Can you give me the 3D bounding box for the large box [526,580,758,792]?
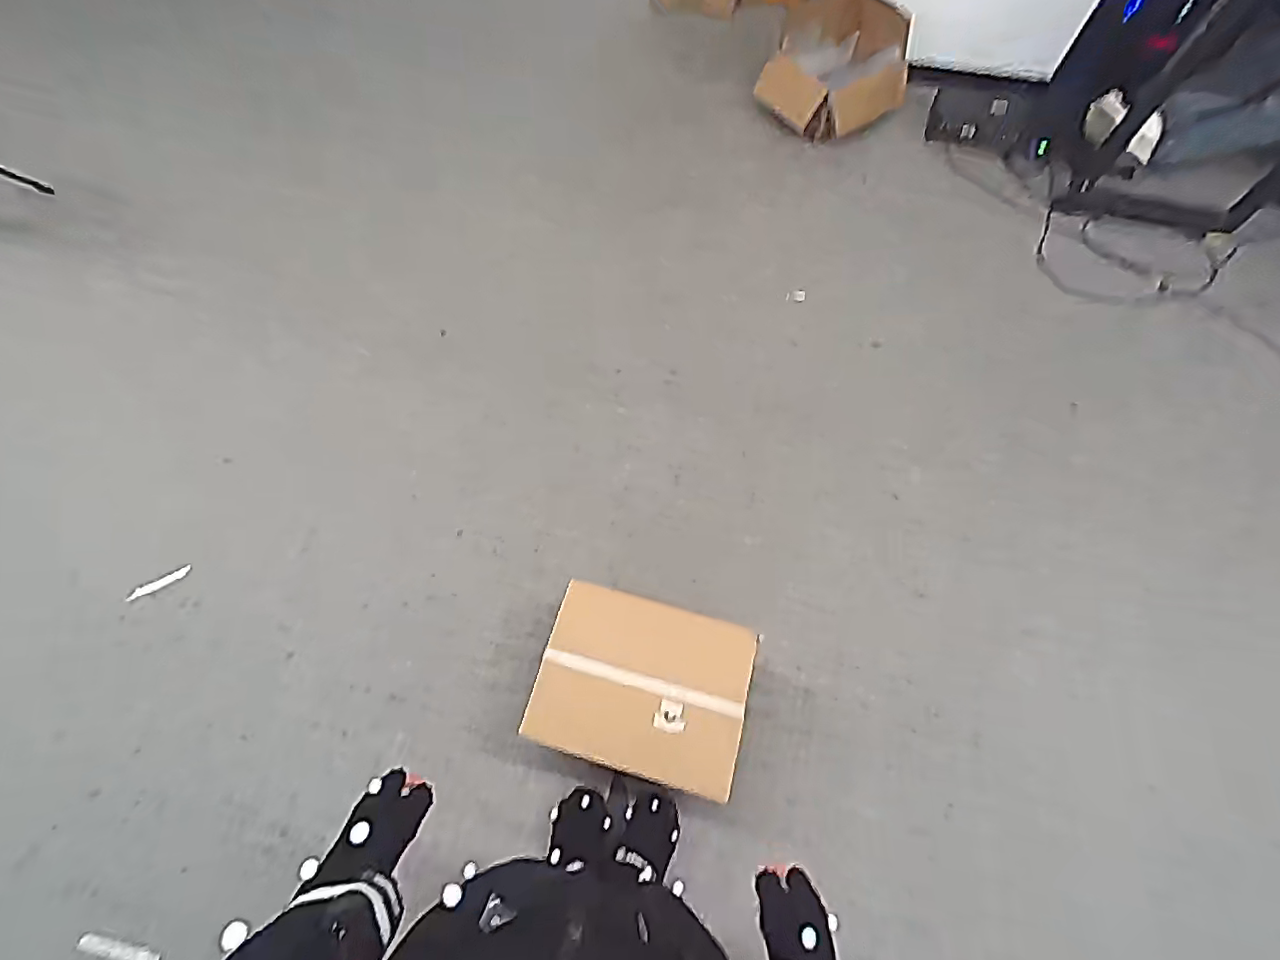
[{"bbox_3d":[0.007,0.449,1.194,0.408,0.320,0.320,15,67,6],"label":"large box"}]
